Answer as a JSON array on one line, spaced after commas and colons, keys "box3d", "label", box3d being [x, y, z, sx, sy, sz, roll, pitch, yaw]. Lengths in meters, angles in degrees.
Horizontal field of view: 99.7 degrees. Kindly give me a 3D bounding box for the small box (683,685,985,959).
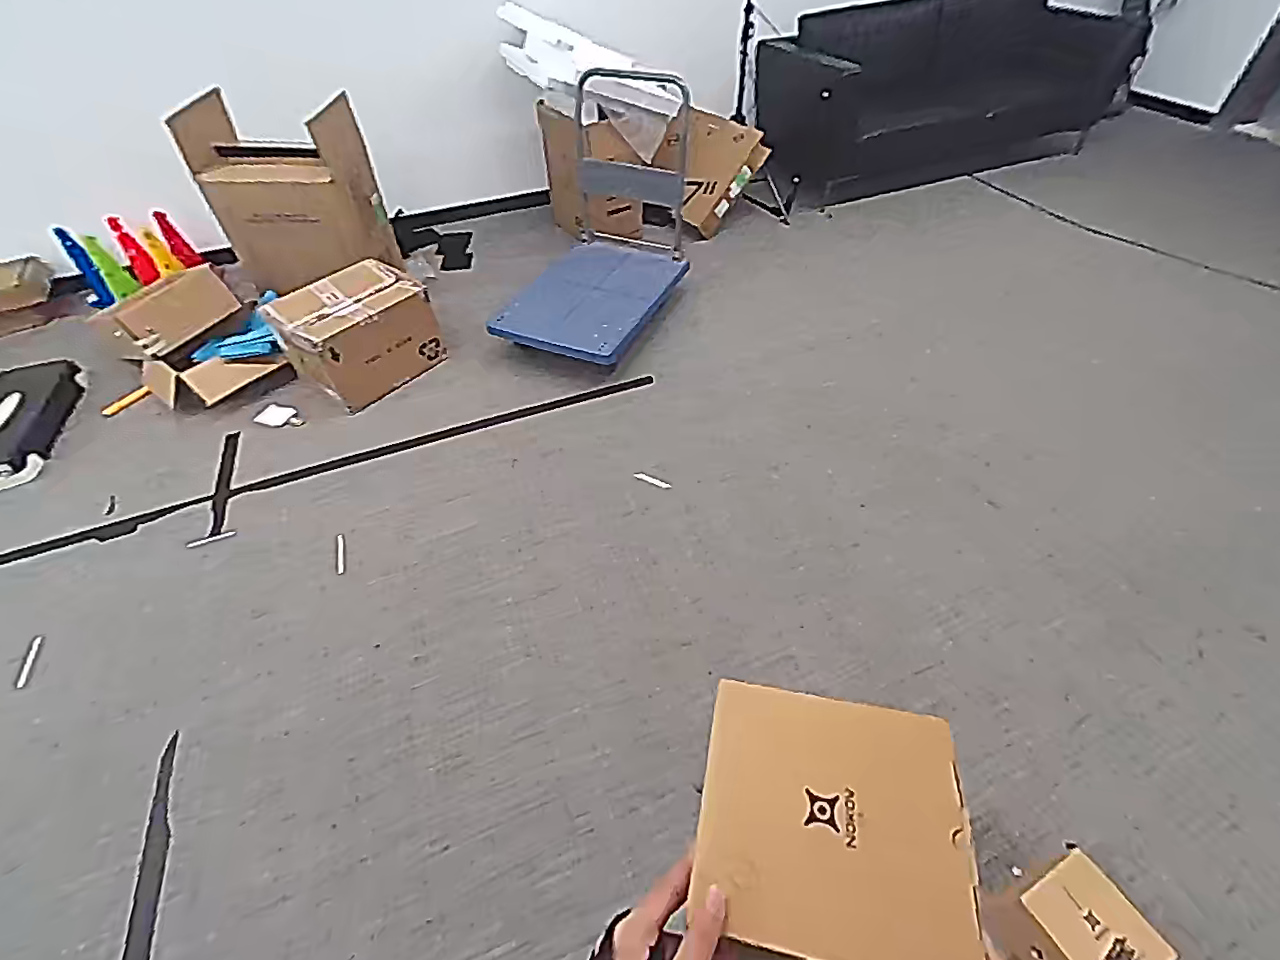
[{"box3d": [0.137, 0.289, 0.425, 0.179, 0.176, 0.168, 5, 45, 14], "label": "small box"}]
